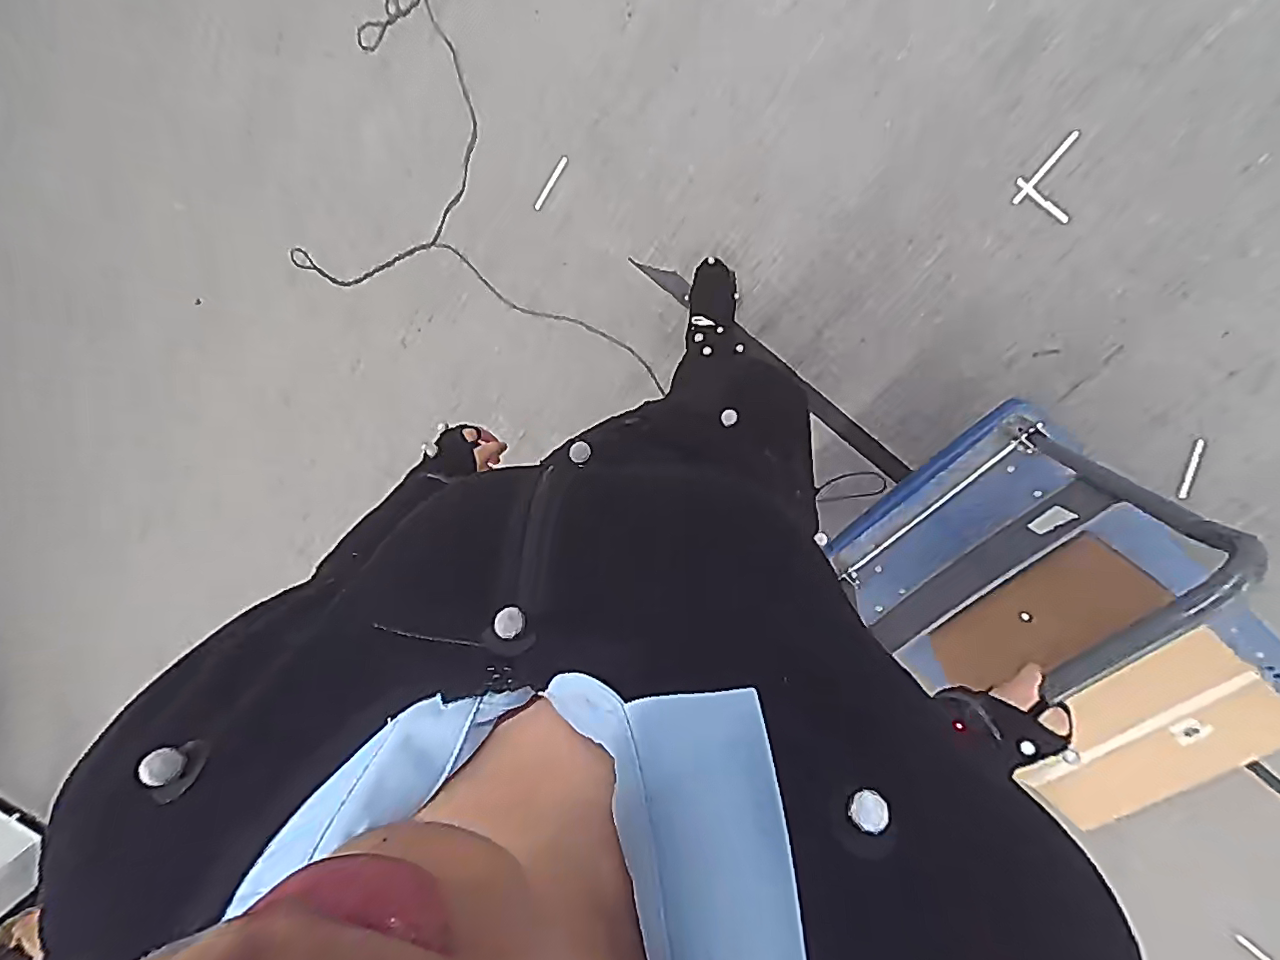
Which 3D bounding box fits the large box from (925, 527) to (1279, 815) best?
[{"bbox_3d":[0.890,0.374,1.112,0.320,0.320,0.408,43,111,-3],"label":"large box"}]
